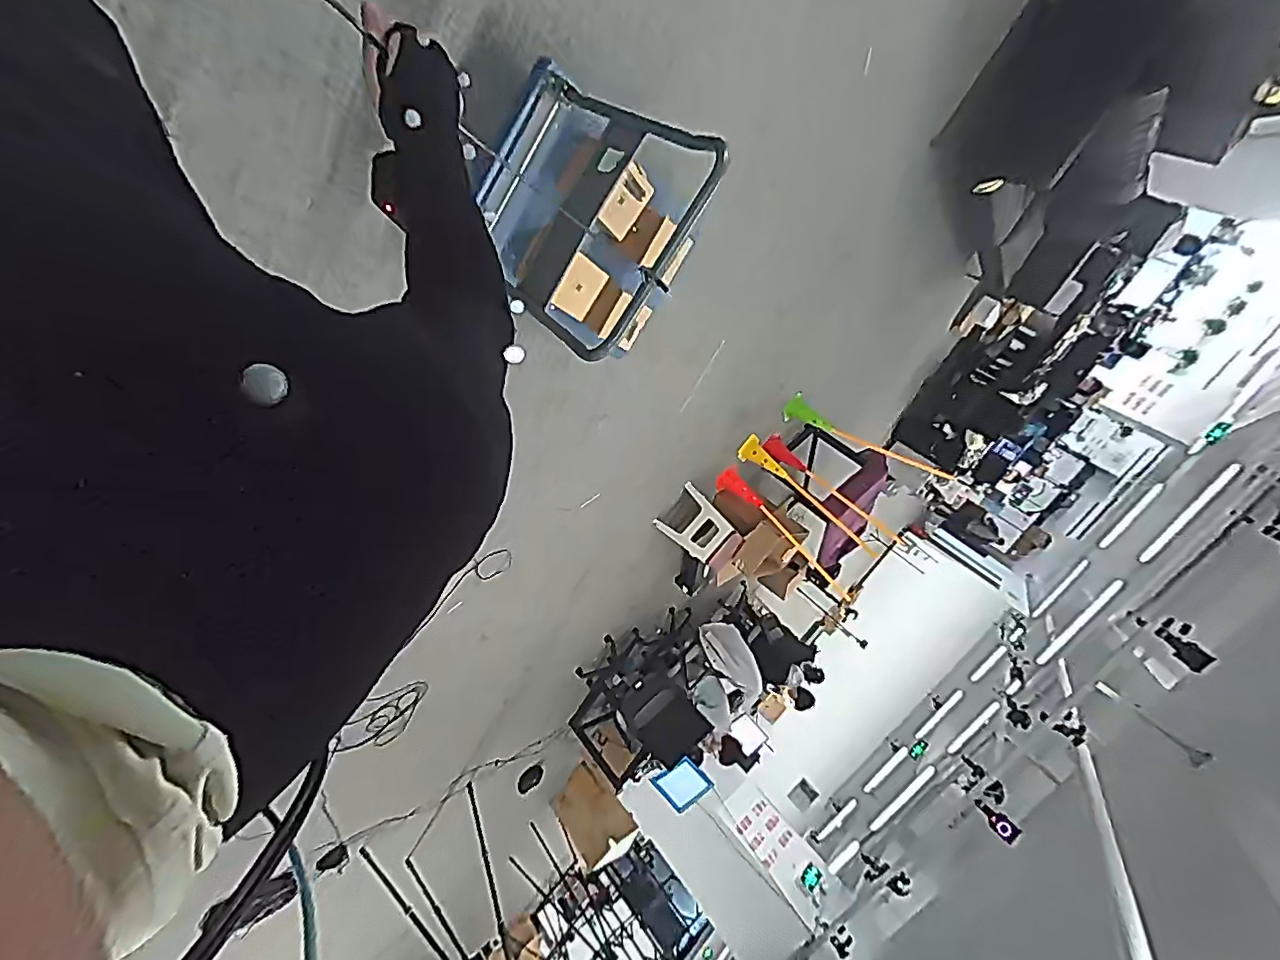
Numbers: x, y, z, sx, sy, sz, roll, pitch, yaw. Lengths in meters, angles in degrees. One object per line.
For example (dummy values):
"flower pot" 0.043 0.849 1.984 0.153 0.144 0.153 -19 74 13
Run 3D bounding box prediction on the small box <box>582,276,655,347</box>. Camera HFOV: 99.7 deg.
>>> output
"small box" -0.088 -0.589 1.862 0.179 0.176 0.168 11 116 -55

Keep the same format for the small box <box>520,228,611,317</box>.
"small box" -0.228 -0.630 1.640 0.168 0.176 0.179 -55 148 13

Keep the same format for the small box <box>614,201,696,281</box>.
"small box" 0.046 -0.797 1.793 0.179 0.176 0.168 7 120 -55
